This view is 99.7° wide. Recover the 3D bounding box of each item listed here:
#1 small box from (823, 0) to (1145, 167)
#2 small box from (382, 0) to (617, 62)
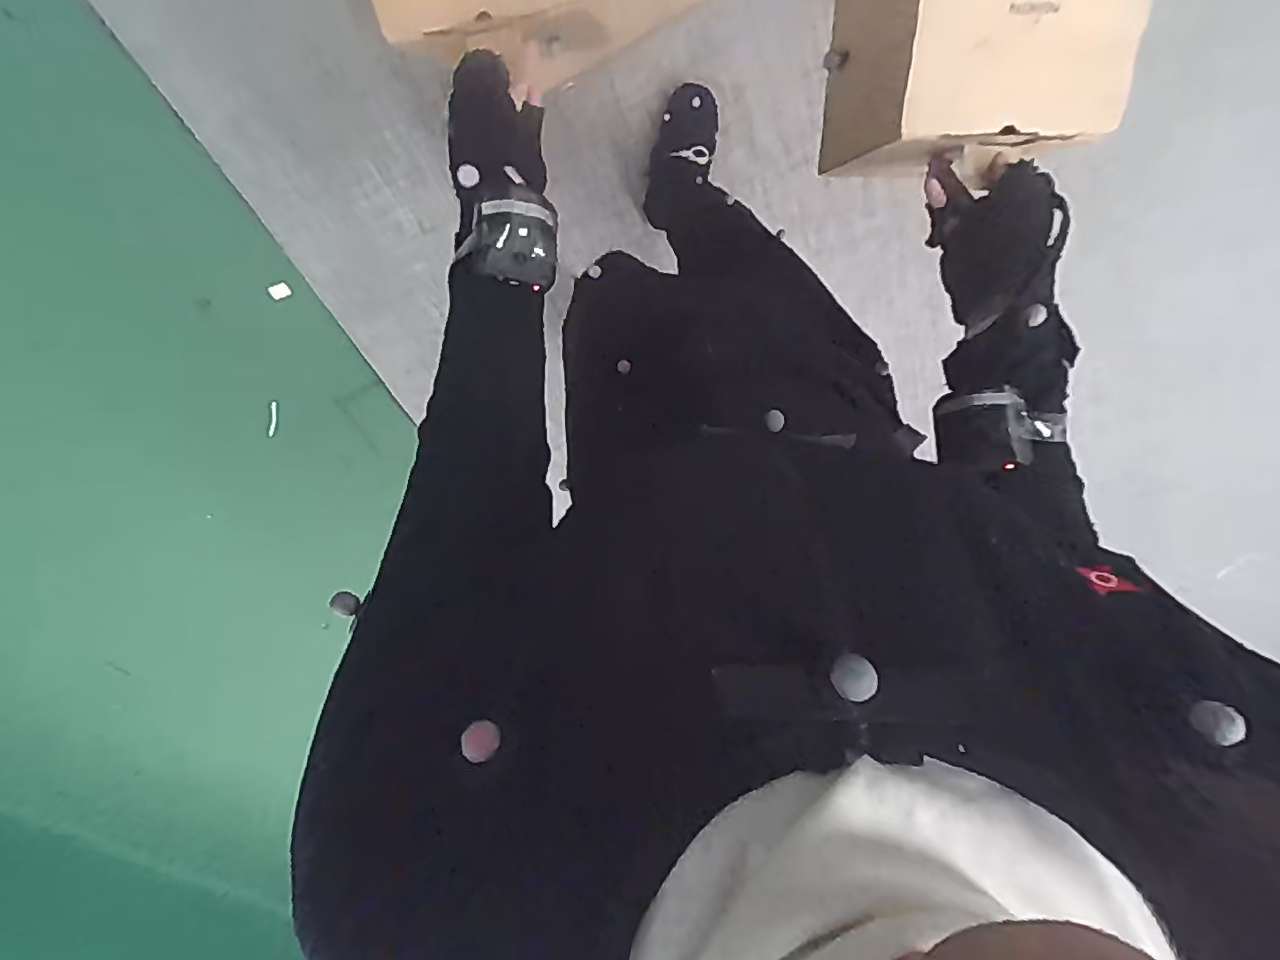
[{"bbox_3d":[0.265,-0.368,0.446,0.168,0.176,0.179,-2,111,-3],"label":"small box"},{"bbox_3d":[-0.119,-0.465,0.441,0.168,0.176,0.179,-5,119,8],"label":"small box"}]
